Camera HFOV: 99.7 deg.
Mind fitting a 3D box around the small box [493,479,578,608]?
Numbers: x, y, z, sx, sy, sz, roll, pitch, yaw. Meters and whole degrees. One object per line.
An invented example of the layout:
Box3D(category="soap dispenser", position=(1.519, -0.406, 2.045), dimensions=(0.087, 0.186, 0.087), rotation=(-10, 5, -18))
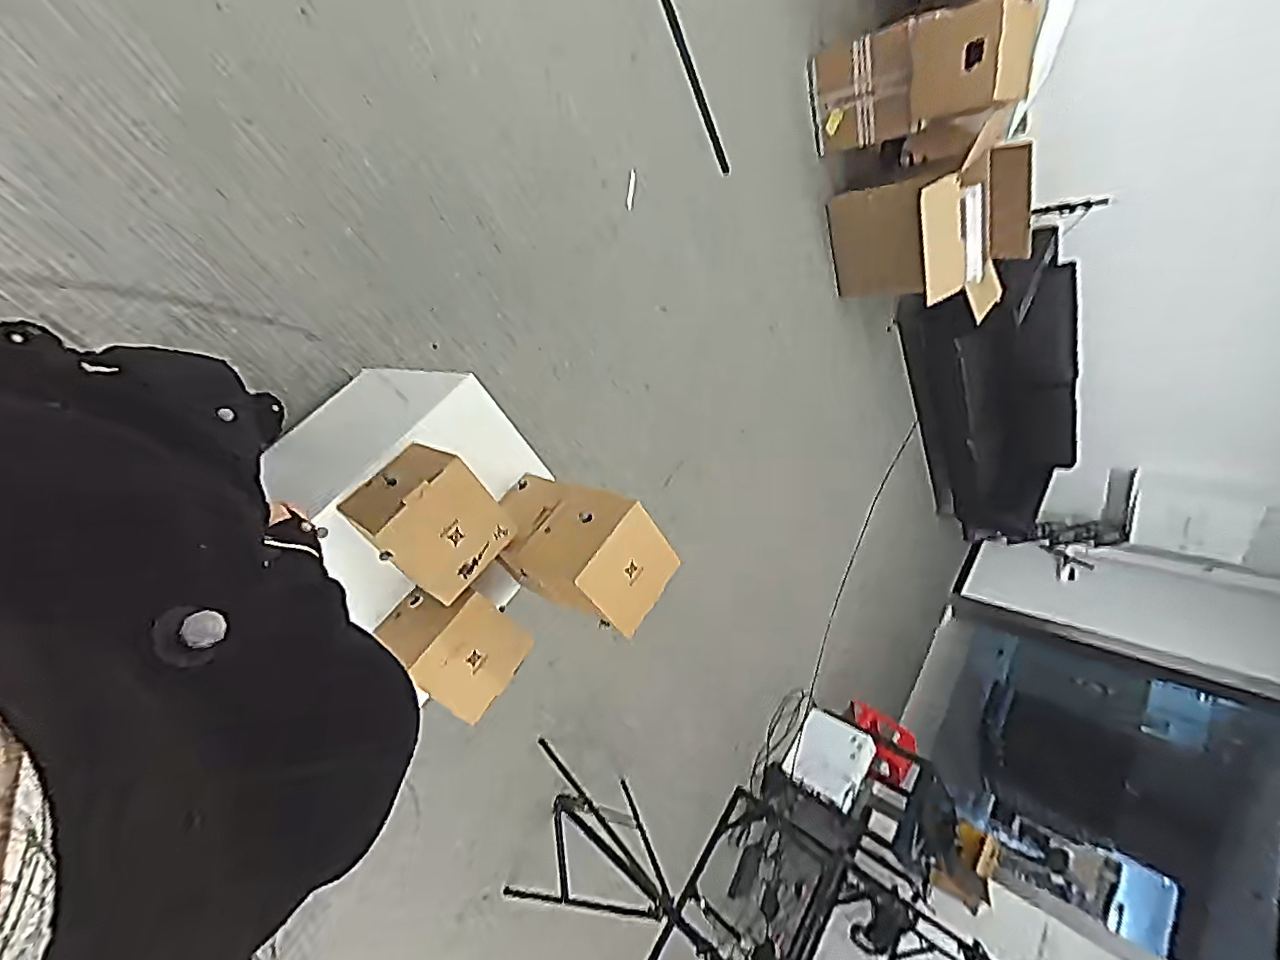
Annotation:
Box3D(category="small box", position=(-0.187, 0.113, 1.046), dimensions=(0.168, 0.176, 0.179), rotation=(-50, 130, -24))

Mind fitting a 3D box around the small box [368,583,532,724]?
Box3D(category="small box", position=(-0.331, 0.284, 0.947), dimensions=(0.168, 0.176, 0.179), rotation=(-52, 129, -25))

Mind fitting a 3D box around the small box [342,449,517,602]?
Box3D(category="small box", position=(-0.343, 0.064, 0.879), dimensions=(0.168, 0.176, 0.179), rotation=(-49, 129, -25))

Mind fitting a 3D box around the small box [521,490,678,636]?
Box3D(category="small box", position=(-0.071, 0.133, 0.934), dimensions=(0.168, 0.176, 0.179), rotation=(-52, 130, -22))
